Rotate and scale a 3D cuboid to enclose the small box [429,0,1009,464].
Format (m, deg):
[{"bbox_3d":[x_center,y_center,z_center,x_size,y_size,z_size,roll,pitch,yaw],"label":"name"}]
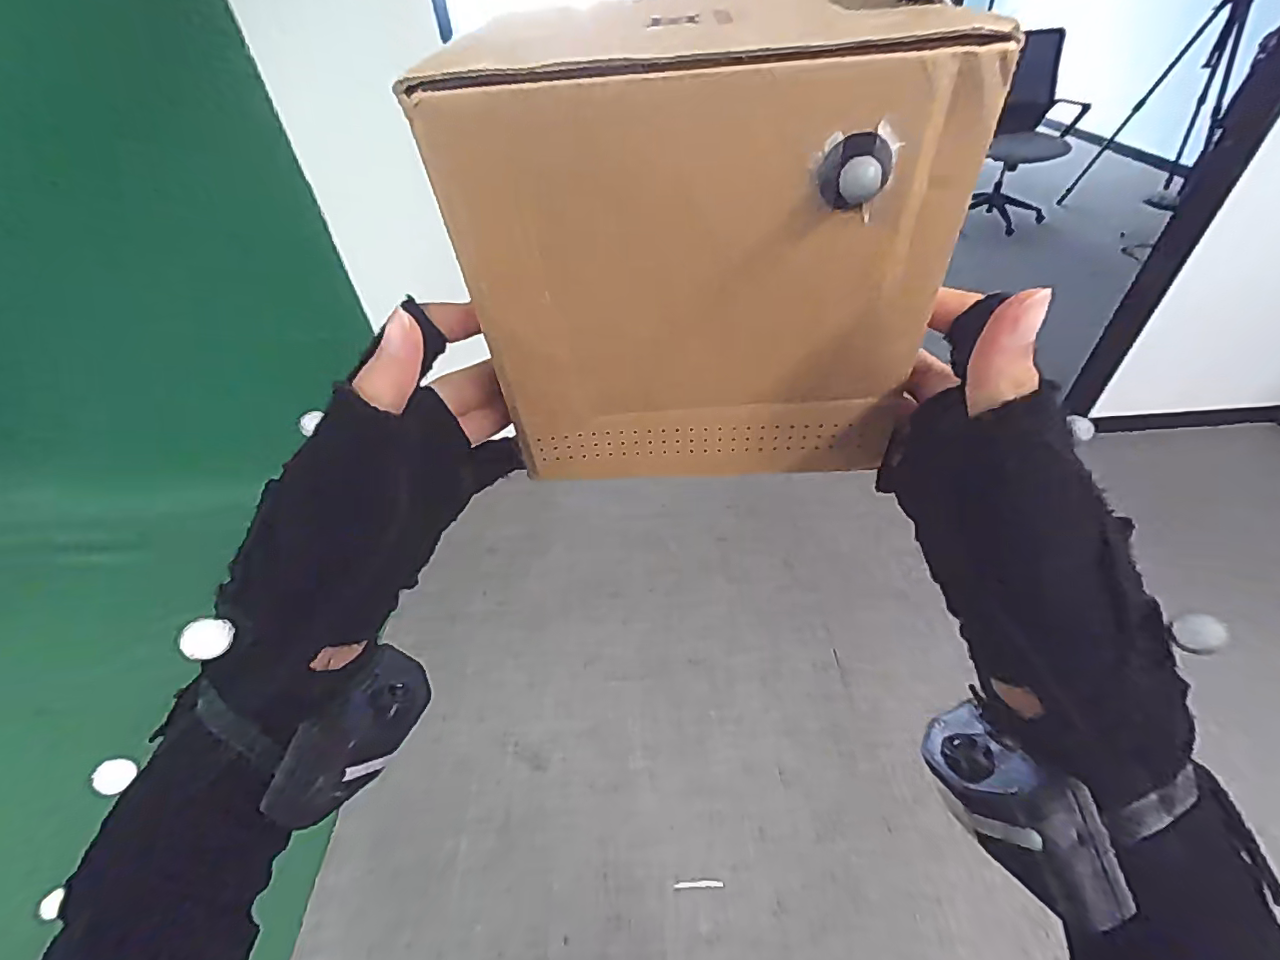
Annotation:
[{"bbox_3d":[0.029,-0.120,0.271,0.179,0.176,0.168,-1,47,4],"label":"small box"}]
